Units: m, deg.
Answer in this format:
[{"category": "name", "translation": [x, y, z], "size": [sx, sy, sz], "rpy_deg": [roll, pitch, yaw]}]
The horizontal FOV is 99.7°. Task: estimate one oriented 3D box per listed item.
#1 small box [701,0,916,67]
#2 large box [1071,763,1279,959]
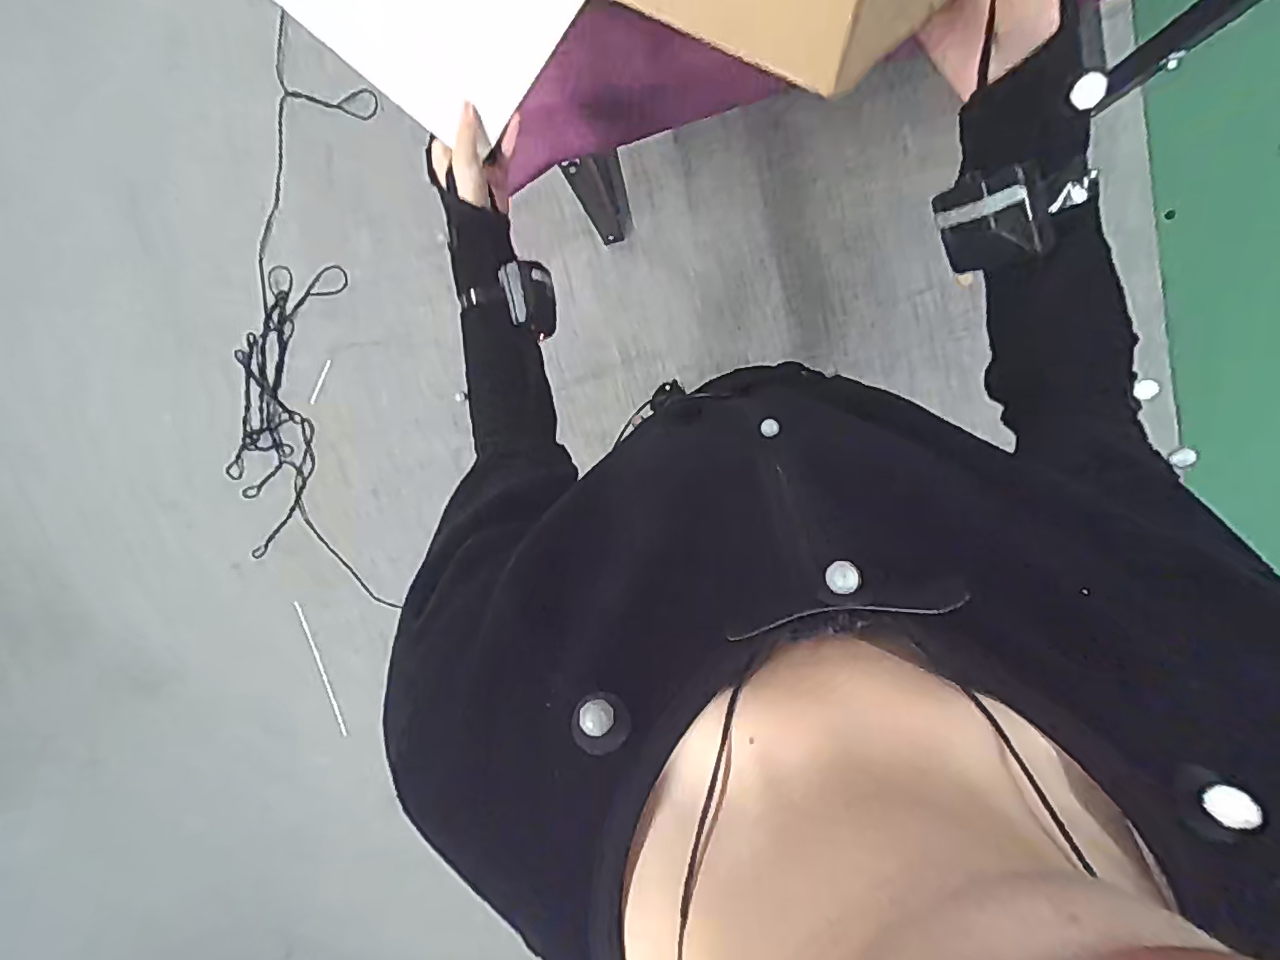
[{"category": "small box", "translation": [0.076, -0.328, 0.221], "size": [0.176, 0.179, 0.168], "rpy_deg": [40, 74, 18]}, {"category": "large box", "translation": [1.449, 1.011, 1.376], "size": [0.408, 0.320, 0.320], "rpy_deg": [-27, 96, 8]}]
